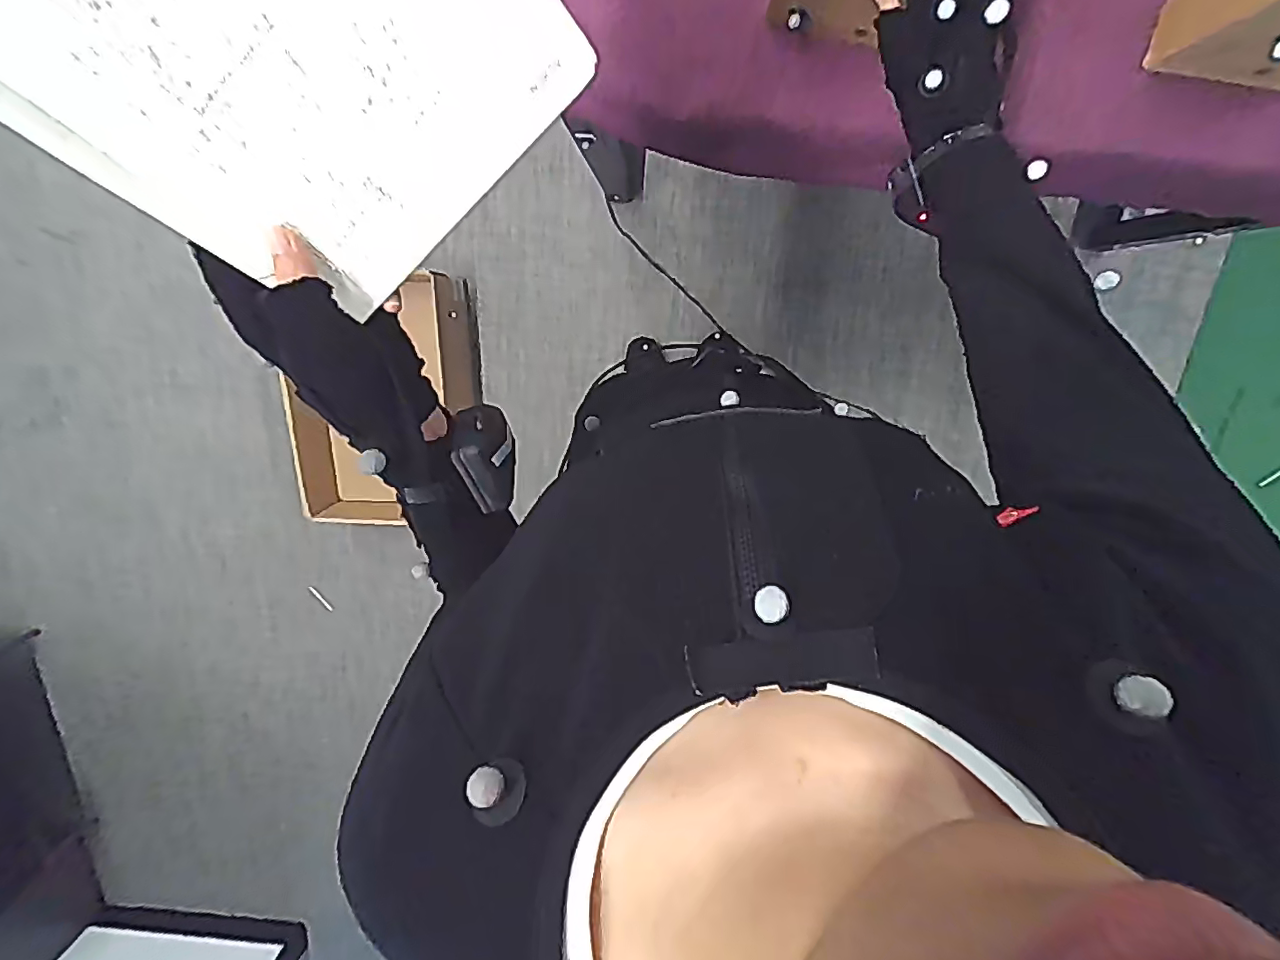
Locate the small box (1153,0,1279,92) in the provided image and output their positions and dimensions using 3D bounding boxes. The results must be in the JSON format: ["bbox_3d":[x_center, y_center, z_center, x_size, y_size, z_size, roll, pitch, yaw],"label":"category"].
[{"bbox_3d":[0.620,-0.474,0.472,0.168,0.176,0.179,10,108,1],"label":"small box"}]

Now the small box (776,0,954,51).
[{"bbox_3d":[0.226,-0.526,0.475,0.168,0.176,0.179,13,107,-2],"label":"small box"}]
